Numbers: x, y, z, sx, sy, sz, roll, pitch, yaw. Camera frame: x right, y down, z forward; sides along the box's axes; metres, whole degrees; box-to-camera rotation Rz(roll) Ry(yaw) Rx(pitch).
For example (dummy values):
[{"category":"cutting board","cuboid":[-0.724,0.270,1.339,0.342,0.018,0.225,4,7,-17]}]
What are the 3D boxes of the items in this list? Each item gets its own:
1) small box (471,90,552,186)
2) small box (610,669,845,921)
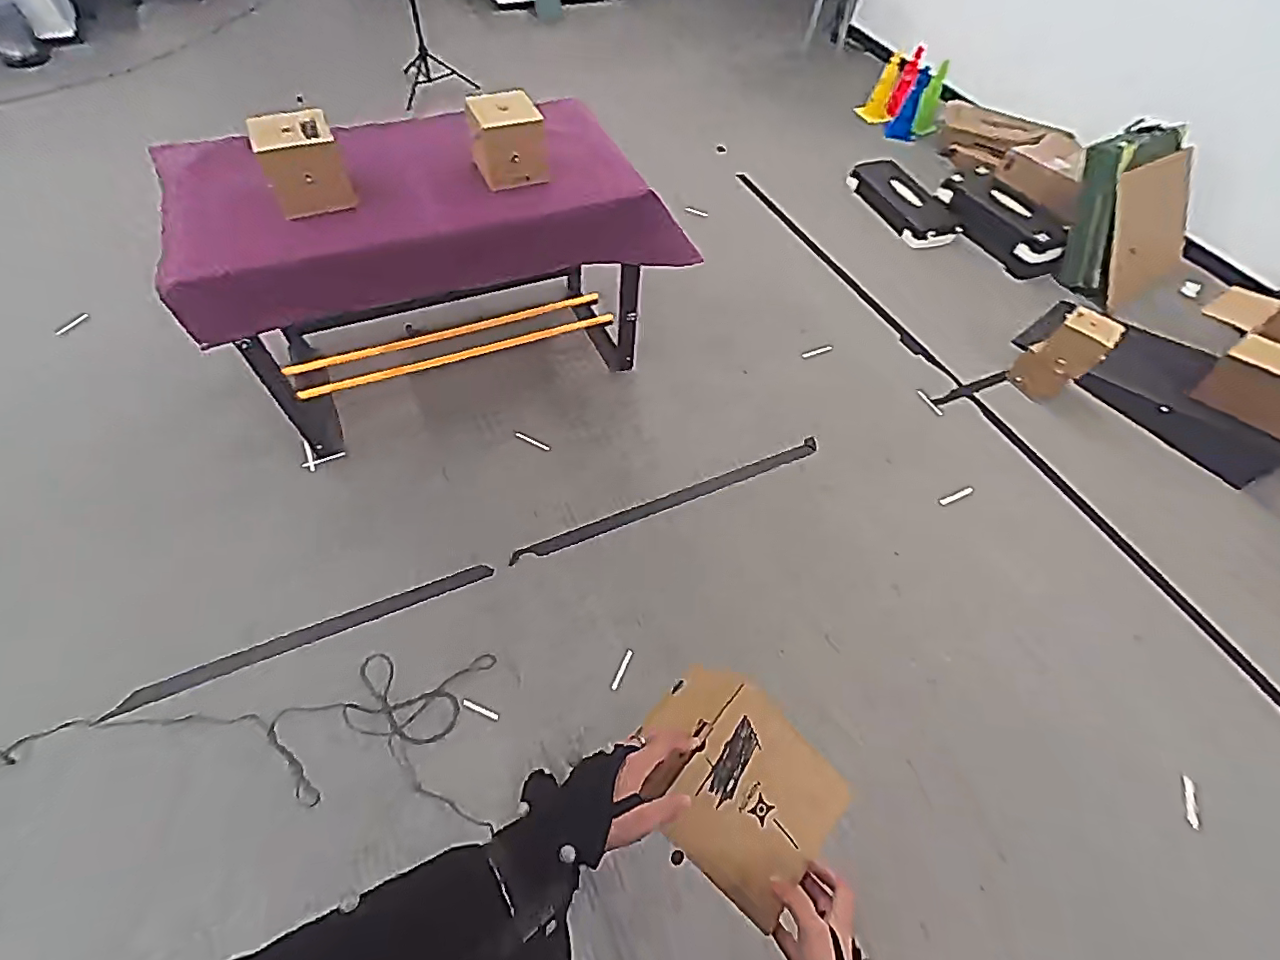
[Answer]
[{"category":"small box","cuboid":[-0.350,-0.936,1.493,0.168,0.176,0.179,-19,61,-17]},{"category":"small box","cuboid":[0.090,0.342,0.632,0.179,0.176,0.168,47,67,-4]}]
